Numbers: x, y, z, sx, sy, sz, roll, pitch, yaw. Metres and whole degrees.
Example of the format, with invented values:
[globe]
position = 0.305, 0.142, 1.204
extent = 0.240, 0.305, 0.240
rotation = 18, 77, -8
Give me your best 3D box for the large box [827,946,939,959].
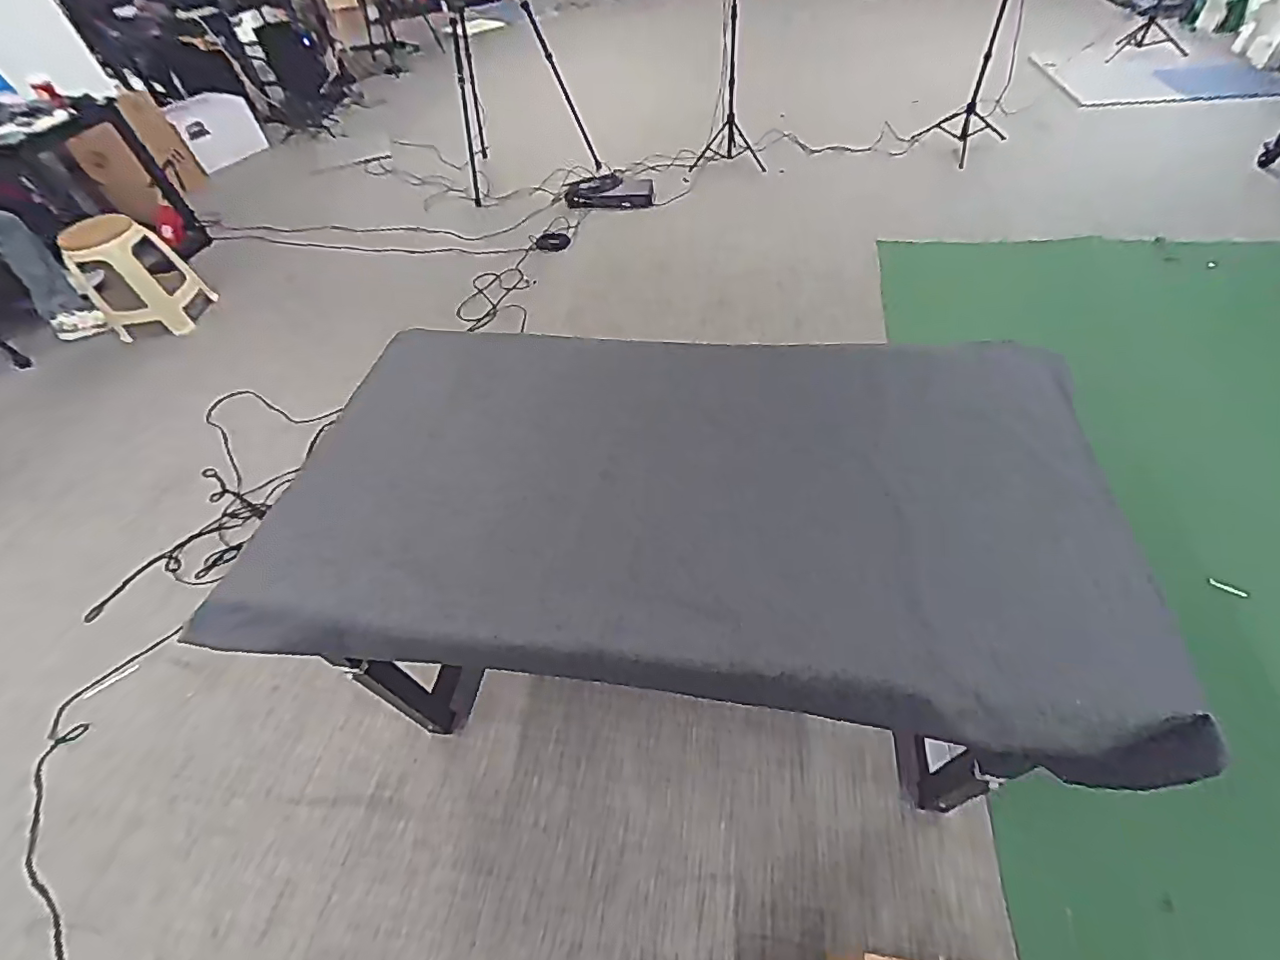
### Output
[large box]
position = 0.460, 0.934, 0.749
extent = 0.320, 0.320, 0.408
rotation = 3, 51, 10
